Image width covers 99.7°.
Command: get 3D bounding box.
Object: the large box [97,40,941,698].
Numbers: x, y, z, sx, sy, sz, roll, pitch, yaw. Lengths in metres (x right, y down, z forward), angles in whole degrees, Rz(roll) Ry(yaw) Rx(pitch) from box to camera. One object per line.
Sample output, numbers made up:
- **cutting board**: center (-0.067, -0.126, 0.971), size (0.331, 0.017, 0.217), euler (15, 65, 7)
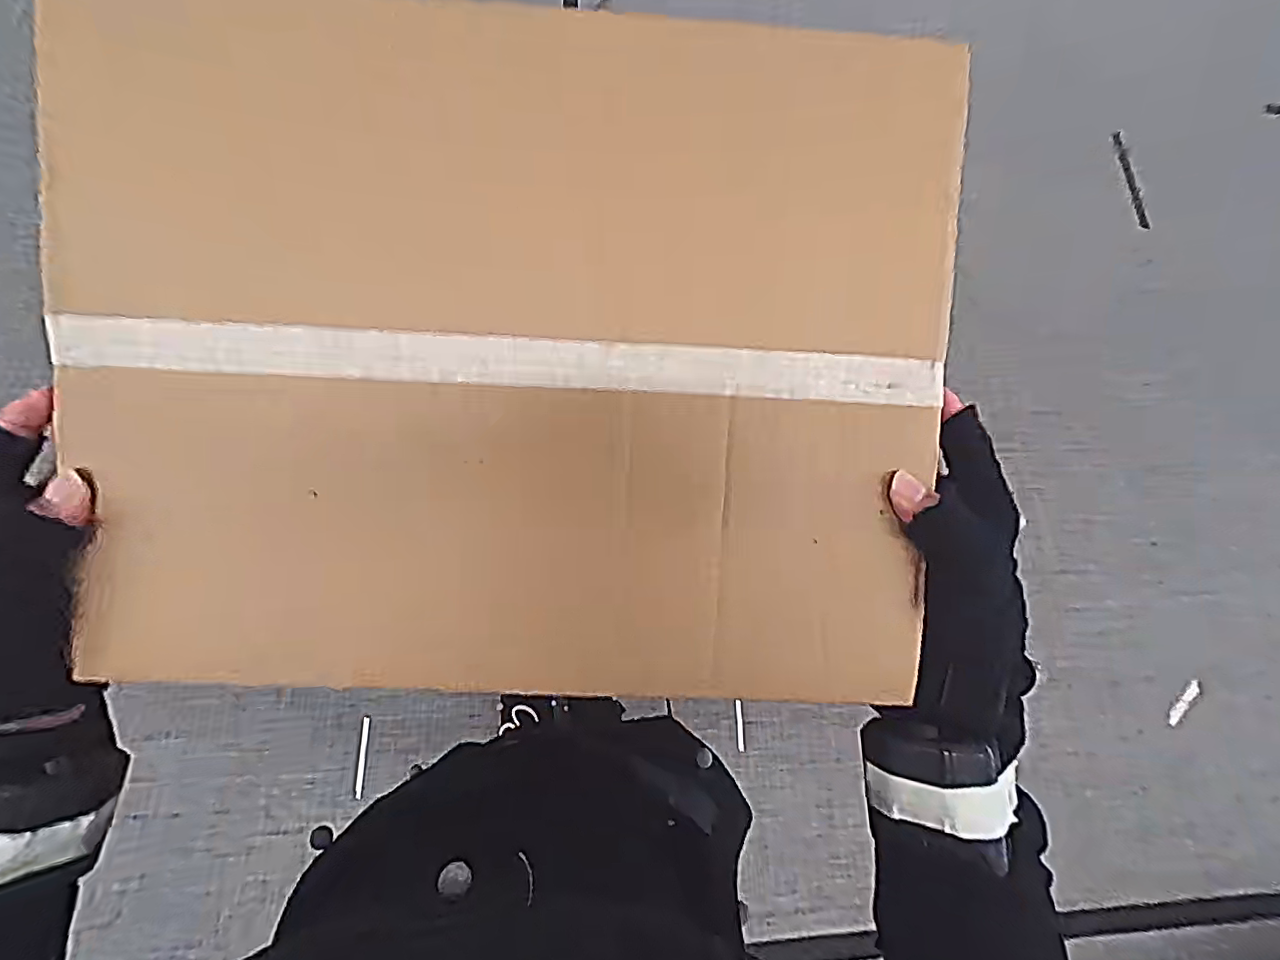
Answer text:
- **large box**: center (-0.063, -0.054, 0.412), size (0.408, 0.320, 0.320), euler (2, 95, -2)
